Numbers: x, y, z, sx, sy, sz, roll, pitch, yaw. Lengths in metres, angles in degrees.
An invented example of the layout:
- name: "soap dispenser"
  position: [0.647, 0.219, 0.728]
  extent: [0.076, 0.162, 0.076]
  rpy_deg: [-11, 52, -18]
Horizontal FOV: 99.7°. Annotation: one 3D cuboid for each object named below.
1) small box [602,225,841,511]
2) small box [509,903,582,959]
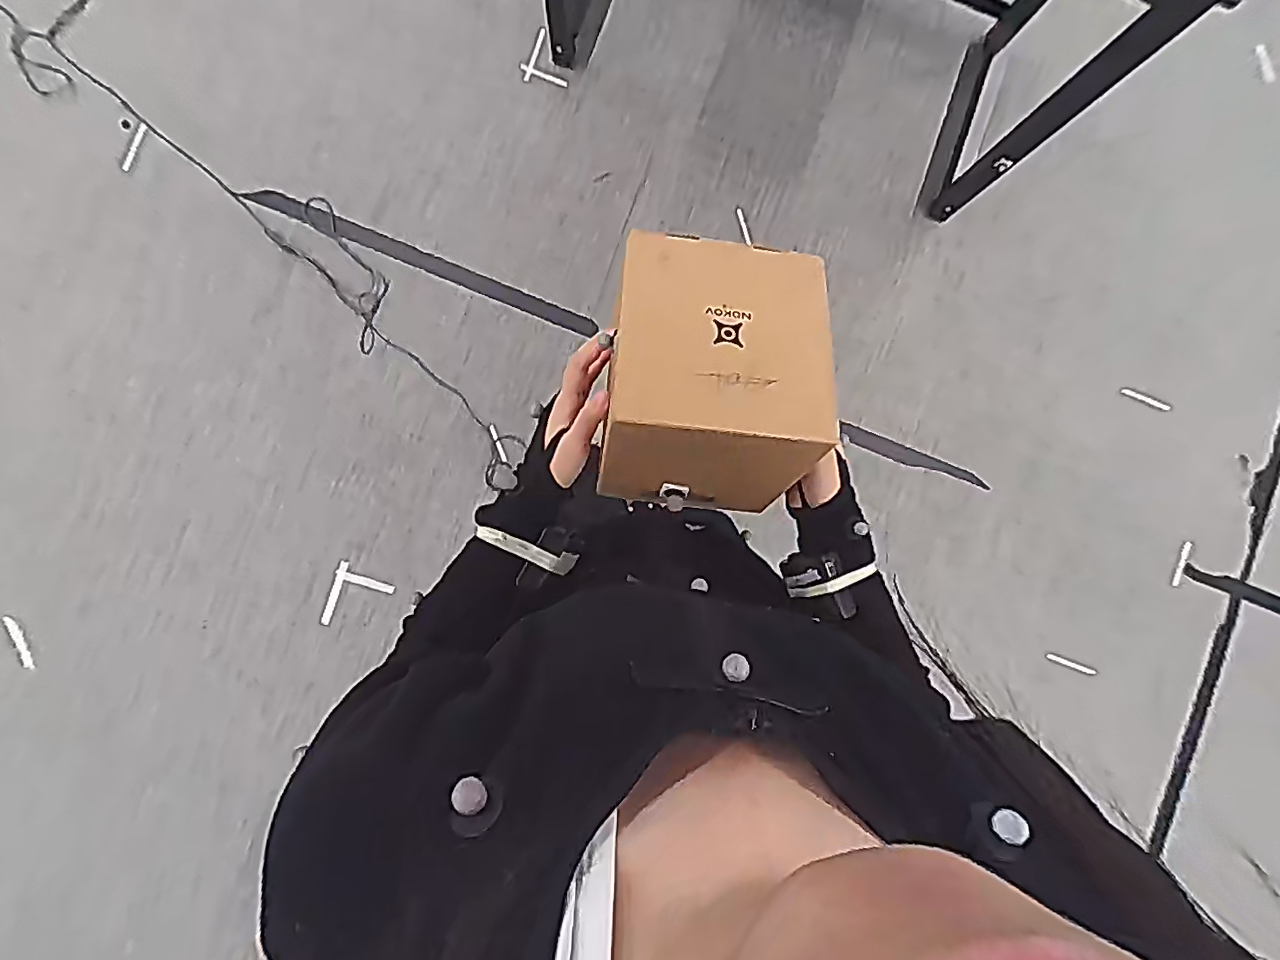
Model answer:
- name: "small box"
  position: [0.056, -0.085, 0.479]
  extent: [0.168, 0.176, 0.179]
  rpy_deg: [5, 69, -6]
- name: "small box"
  position: [-0.246, 1.234, 1.388]
  extent: [0.179, 0.176, 0.168]
  rpy_deg: [8, 89, -5]
